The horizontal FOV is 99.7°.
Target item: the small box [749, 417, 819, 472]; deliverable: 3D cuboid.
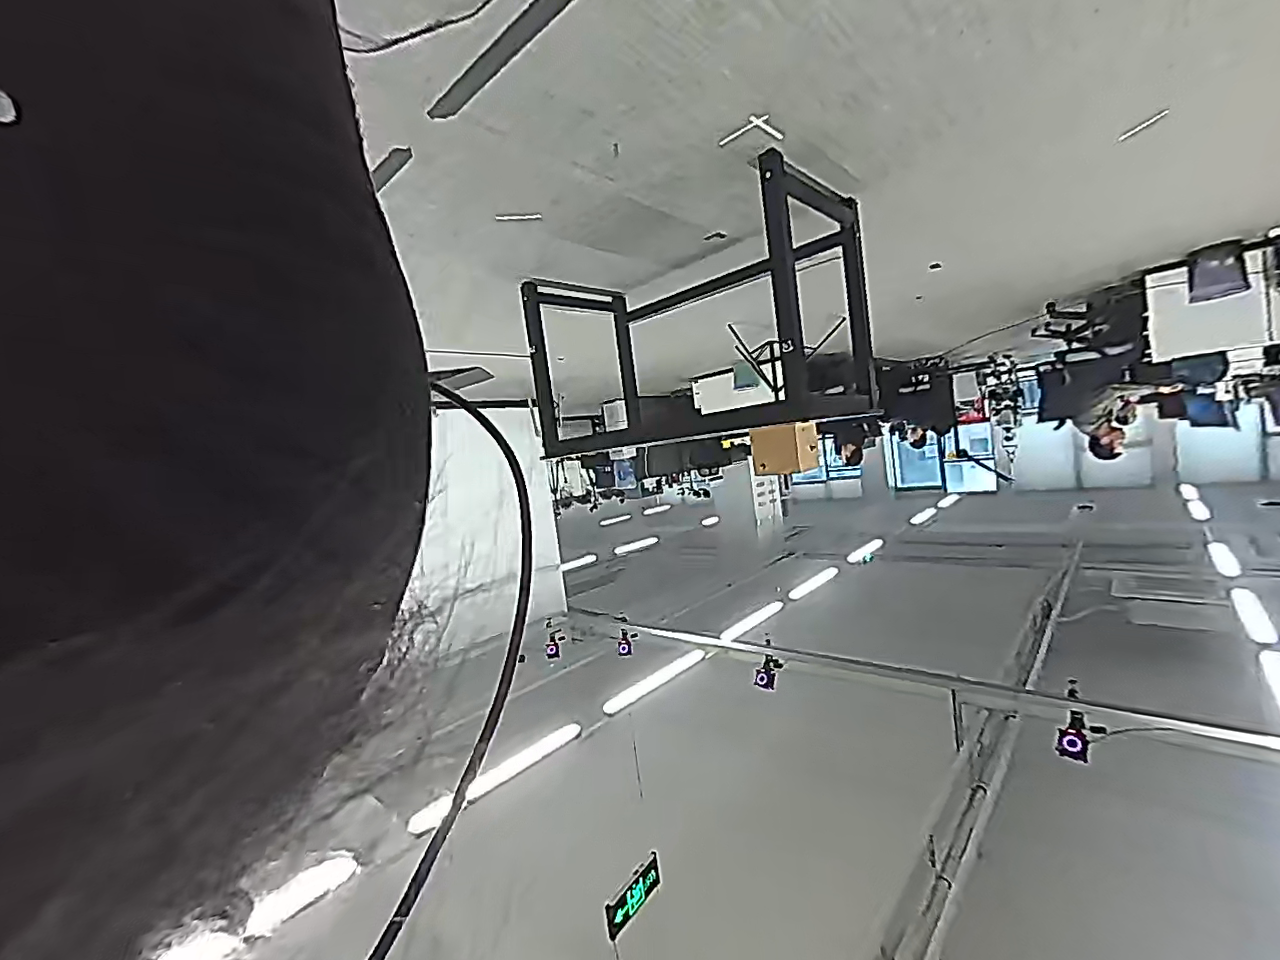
[{"bbox_3d":[0.498,-0.127,1.874,0.179,0.176,0.168,-5,-176,41],"label":"small box"}]
